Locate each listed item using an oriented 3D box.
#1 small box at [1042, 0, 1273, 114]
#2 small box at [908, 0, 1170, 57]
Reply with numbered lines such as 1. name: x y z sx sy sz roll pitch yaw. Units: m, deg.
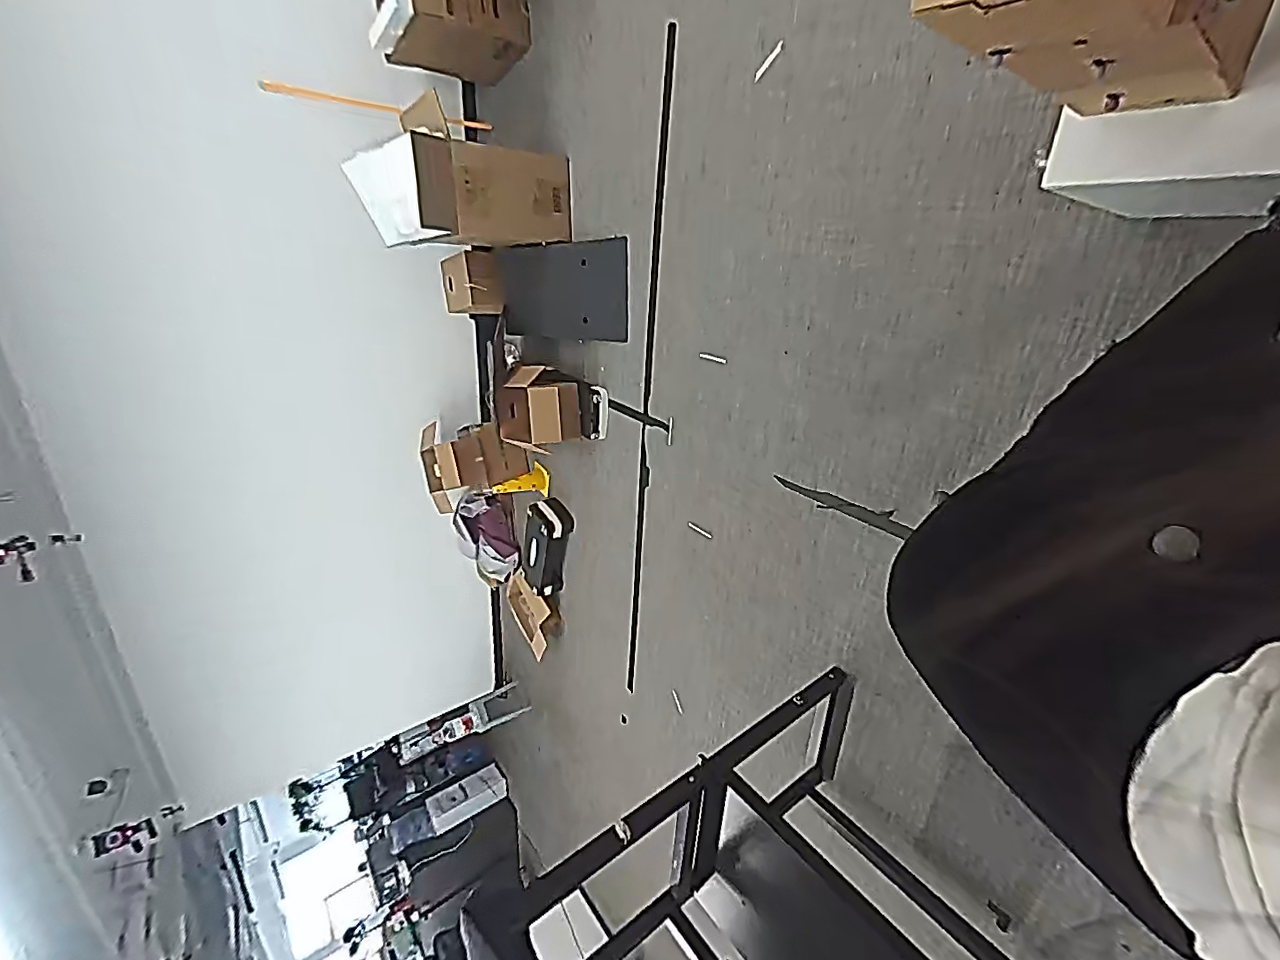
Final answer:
1. small box: 0.642 -0.568 0.662 0.168 0.176 0.179 29 123 45
2. small box: 0.378 -0.503 0.476 0.168 0.176 0.179 33 125 44
